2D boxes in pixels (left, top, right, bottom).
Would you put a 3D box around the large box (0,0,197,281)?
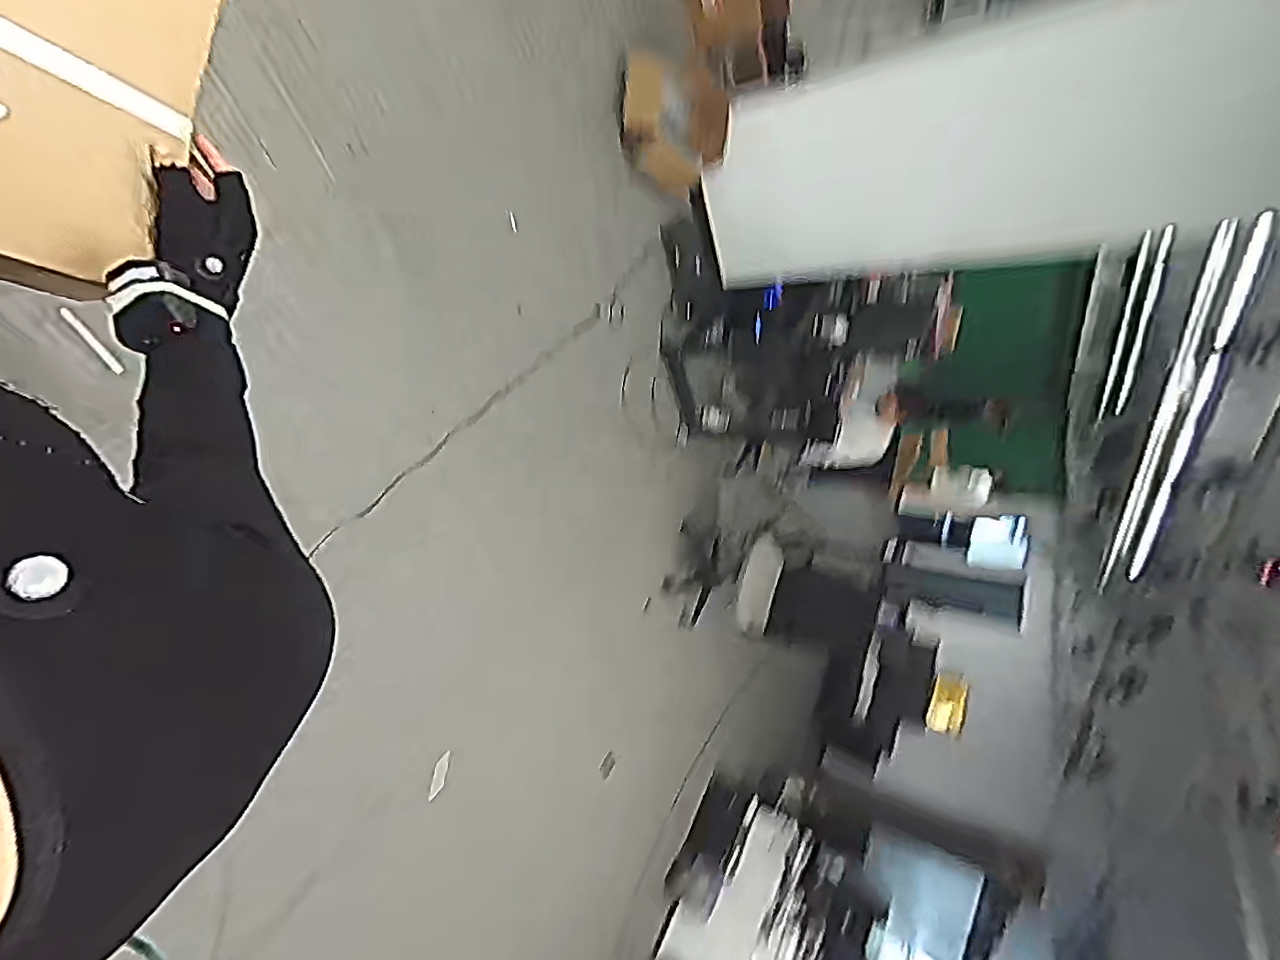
[{"bbox_3d":[-0.660,-0.381,0.417,0.408,0.320,0.320,9,93,-57],"label":"large box"}]
